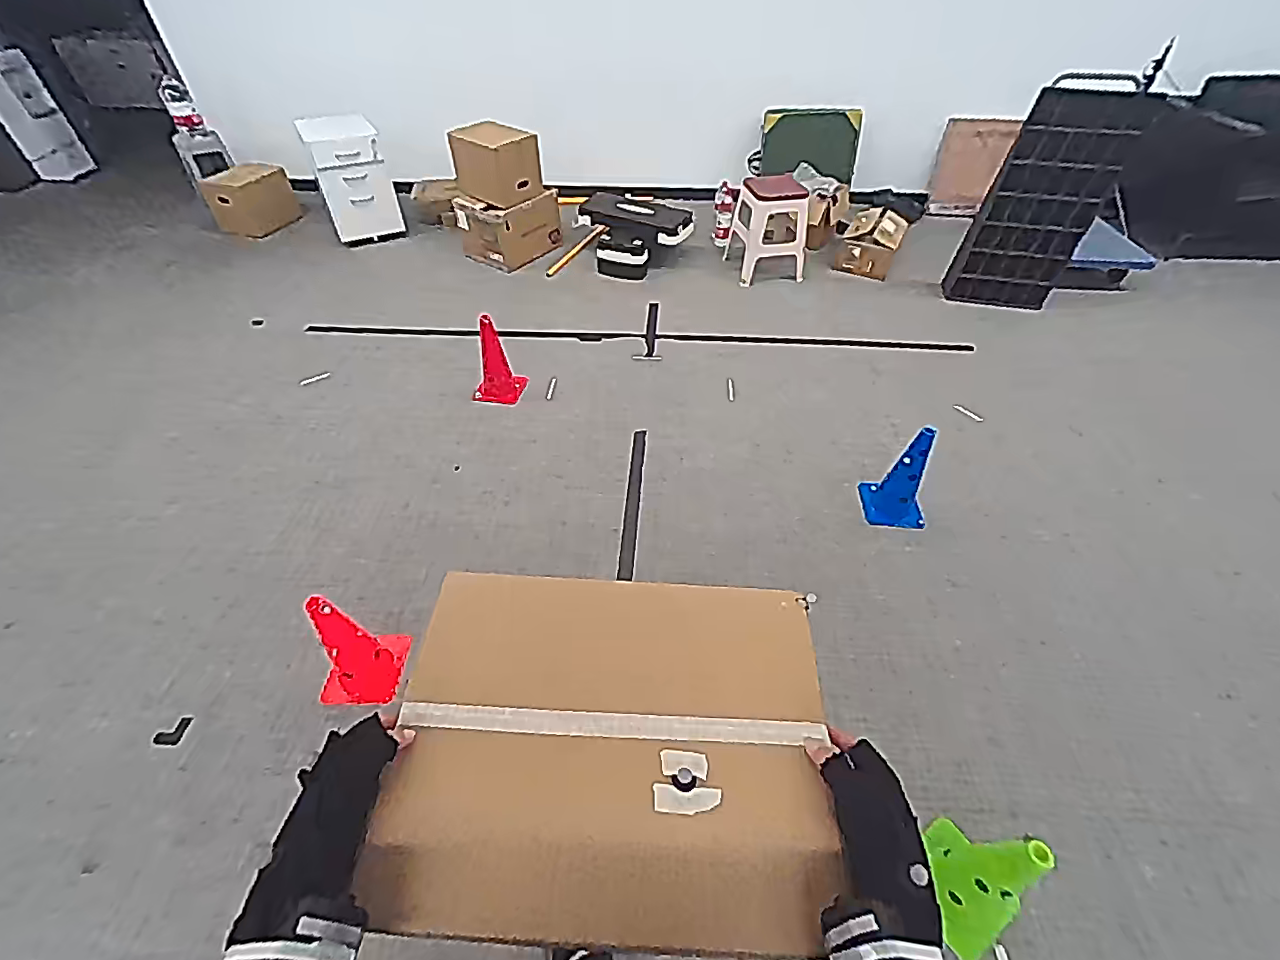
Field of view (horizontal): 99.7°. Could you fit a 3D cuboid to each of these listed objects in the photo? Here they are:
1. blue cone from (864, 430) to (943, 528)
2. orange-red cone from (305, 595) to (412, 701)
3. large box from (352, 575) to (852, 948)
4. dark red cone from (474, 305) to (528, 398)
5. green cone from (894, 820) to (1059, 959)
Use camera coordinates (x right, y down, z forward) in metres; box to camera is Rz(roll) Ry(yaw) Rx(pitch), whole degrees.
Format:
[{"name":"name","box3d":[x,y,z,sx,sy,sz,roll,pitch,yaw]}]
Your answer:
[{"name":"blue cone","box3d":[0.920,-0.019,1.834,0.192,0.380,0.193,6,47,4]},{"name":"orange-red cone","box3d":[-0.761,0.406,1.393,0.198,0.360,0.199,0,48,1]},{"name":"large box","box3d":[-0.031,0.331,0.631,0.408,0.320,0.320,4,49,0]},{"name":"dark red cone","box3d":[-0.606,-0.543,2.268,0.201,0.394,0.202,8,47,6]},{"name":"green cone","box3d":[0.694,0.770,1.054,0.202,0.368,0.200,-25,52,-24]}]
